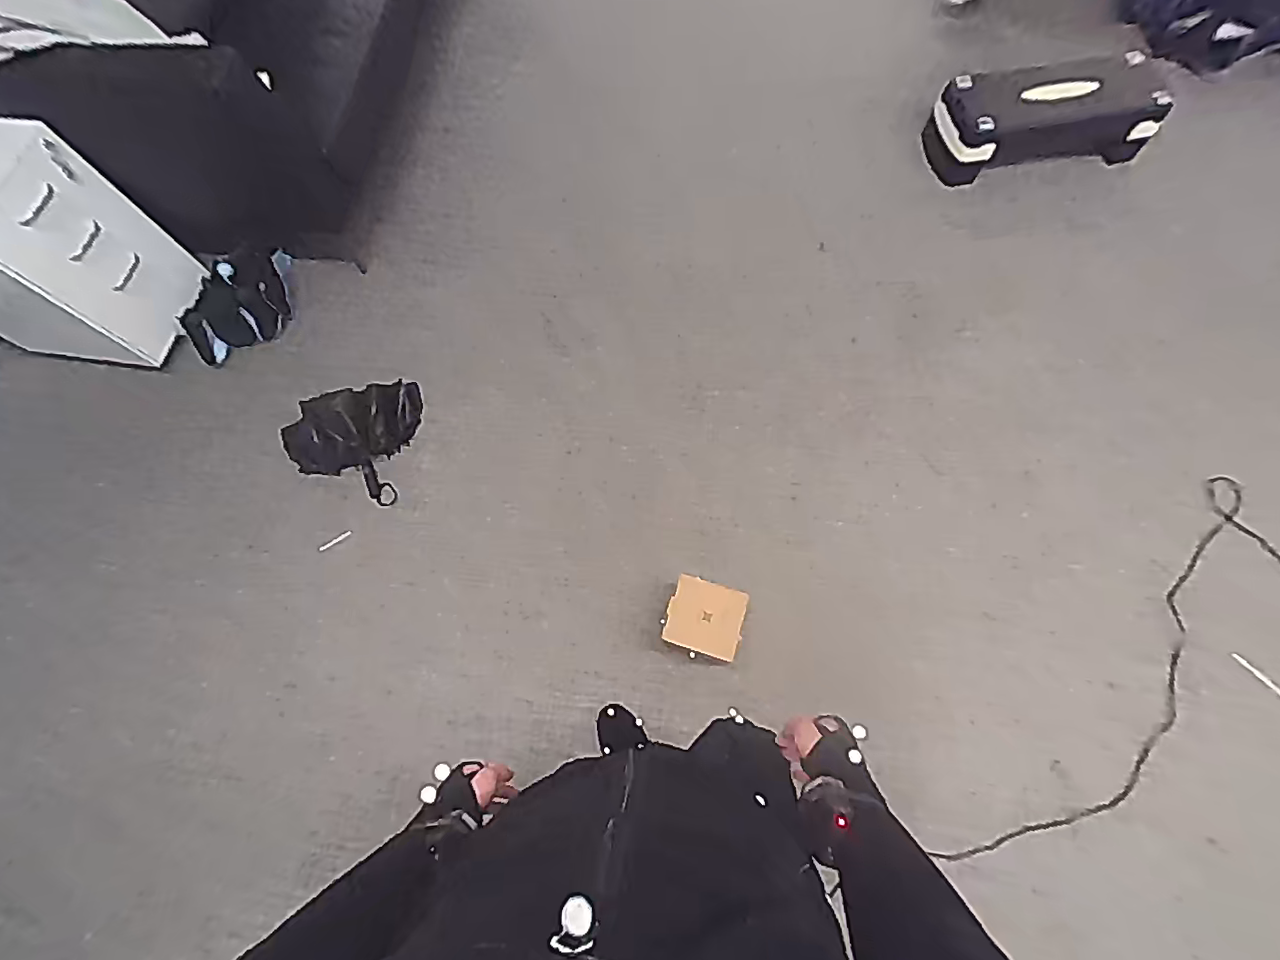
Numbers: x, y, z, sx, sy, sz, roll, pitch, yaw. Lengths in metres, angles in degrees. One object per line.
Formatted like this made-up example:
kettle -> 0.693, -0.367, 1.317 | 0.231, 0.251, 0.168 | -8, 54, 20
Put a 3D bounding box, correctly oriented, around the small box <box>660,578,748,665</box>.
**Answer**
small box -> 0.159, 0.364, 1.365 | 0.179, 0.176, 0.168 | 16, 72, 8
